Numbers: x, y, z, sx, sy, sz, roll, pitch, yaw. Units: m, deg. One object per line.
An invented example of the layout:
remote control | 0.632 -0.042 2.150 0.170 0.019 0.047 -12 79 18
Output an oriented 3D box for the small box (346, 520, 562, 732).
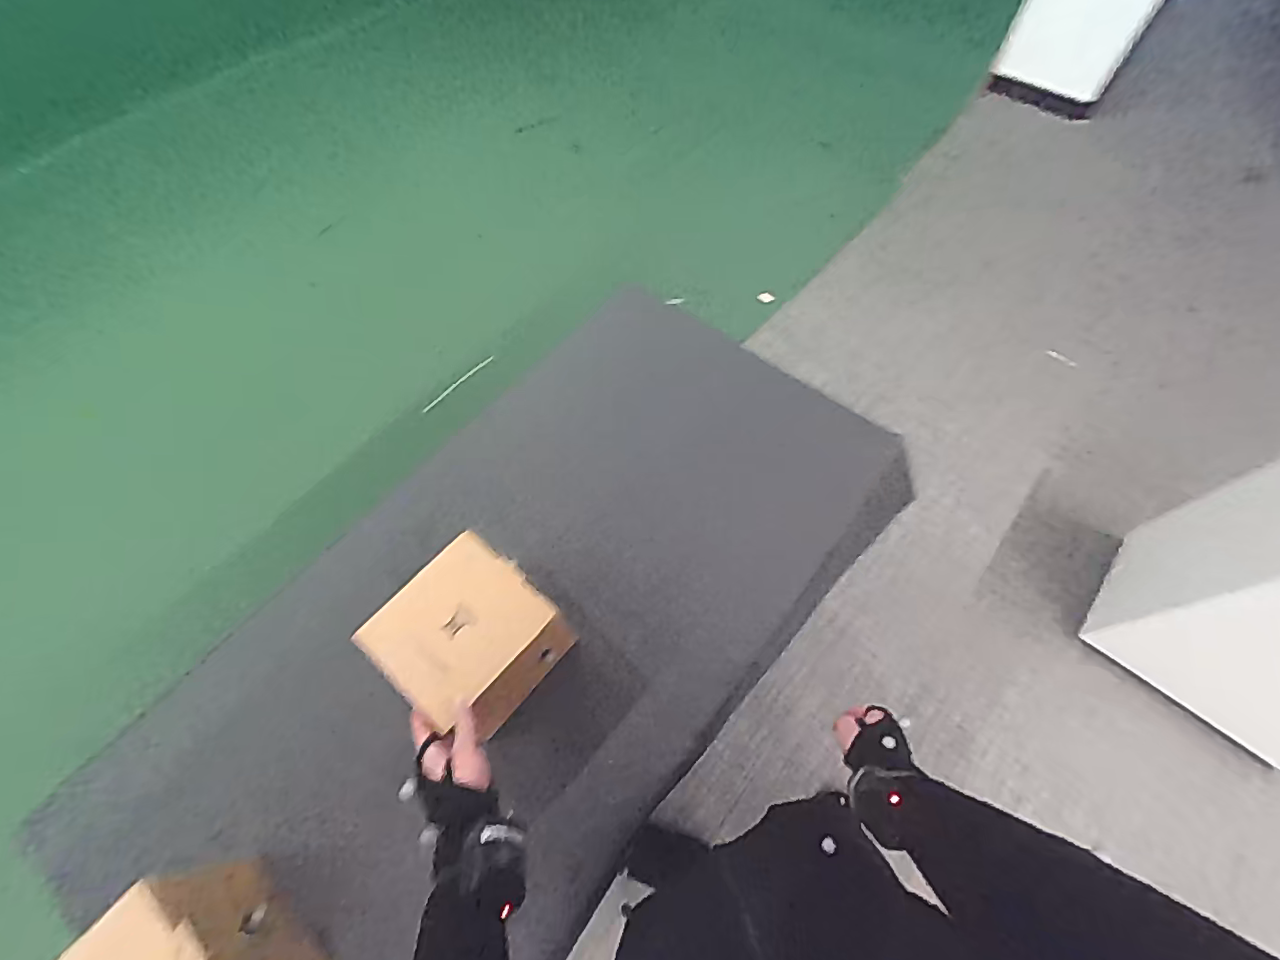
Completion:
small box | -0.214 0.188 0.679 0.168 0.176 0.179 37 69 18
